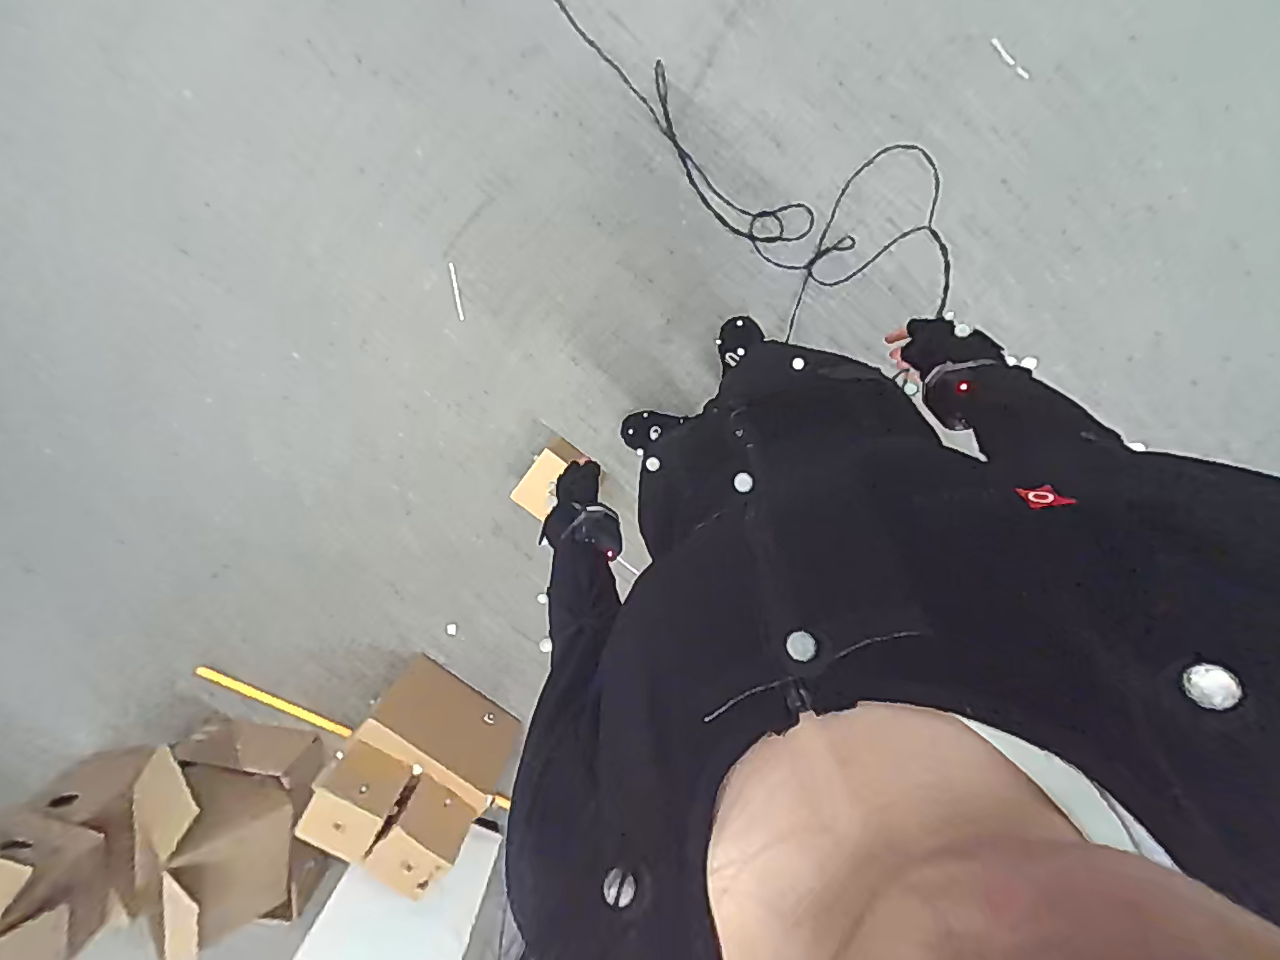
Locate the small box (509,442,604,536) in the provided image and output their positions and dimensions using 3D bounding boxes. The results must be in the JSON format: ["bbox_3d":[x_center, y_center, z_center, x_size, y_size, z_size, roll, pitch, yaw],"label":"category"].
[{"bbox_3d":[-0.214,0.014,1.436,0.179,0.176,0.168,37,103,-8],"label":"small box"}]
